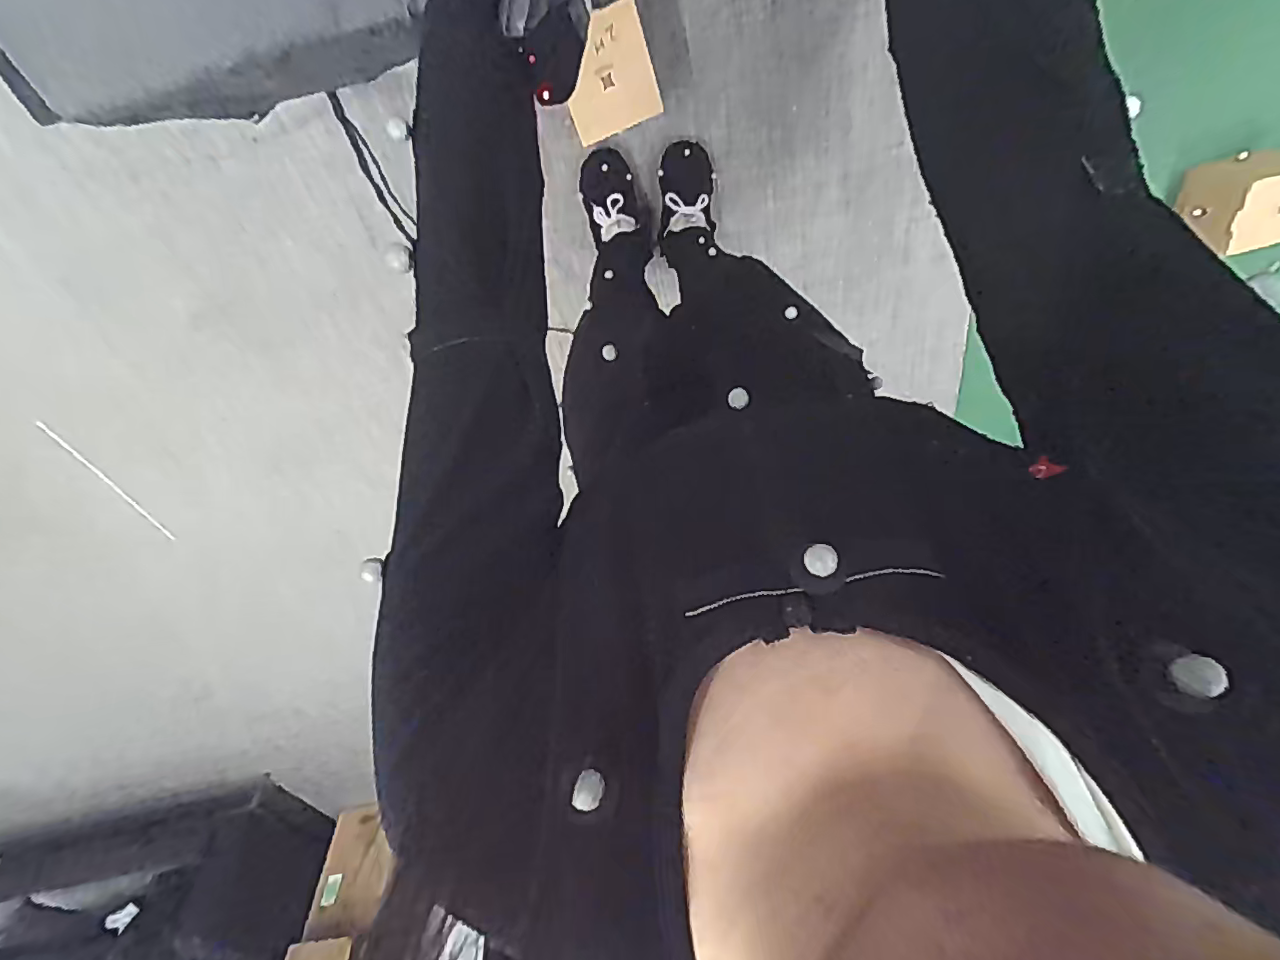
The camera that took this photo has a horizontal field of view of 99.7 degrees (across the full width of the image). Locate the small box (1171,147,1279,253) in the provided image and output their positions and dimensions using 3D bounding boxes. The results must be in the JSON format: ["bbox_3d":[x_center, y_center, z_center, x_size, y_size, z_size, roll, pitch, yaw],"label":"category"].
[{"bbox_3d":[1.416,-0.655,1.261,0.179,0.176,0.168,-13,129,6],"label":"small box"}]
